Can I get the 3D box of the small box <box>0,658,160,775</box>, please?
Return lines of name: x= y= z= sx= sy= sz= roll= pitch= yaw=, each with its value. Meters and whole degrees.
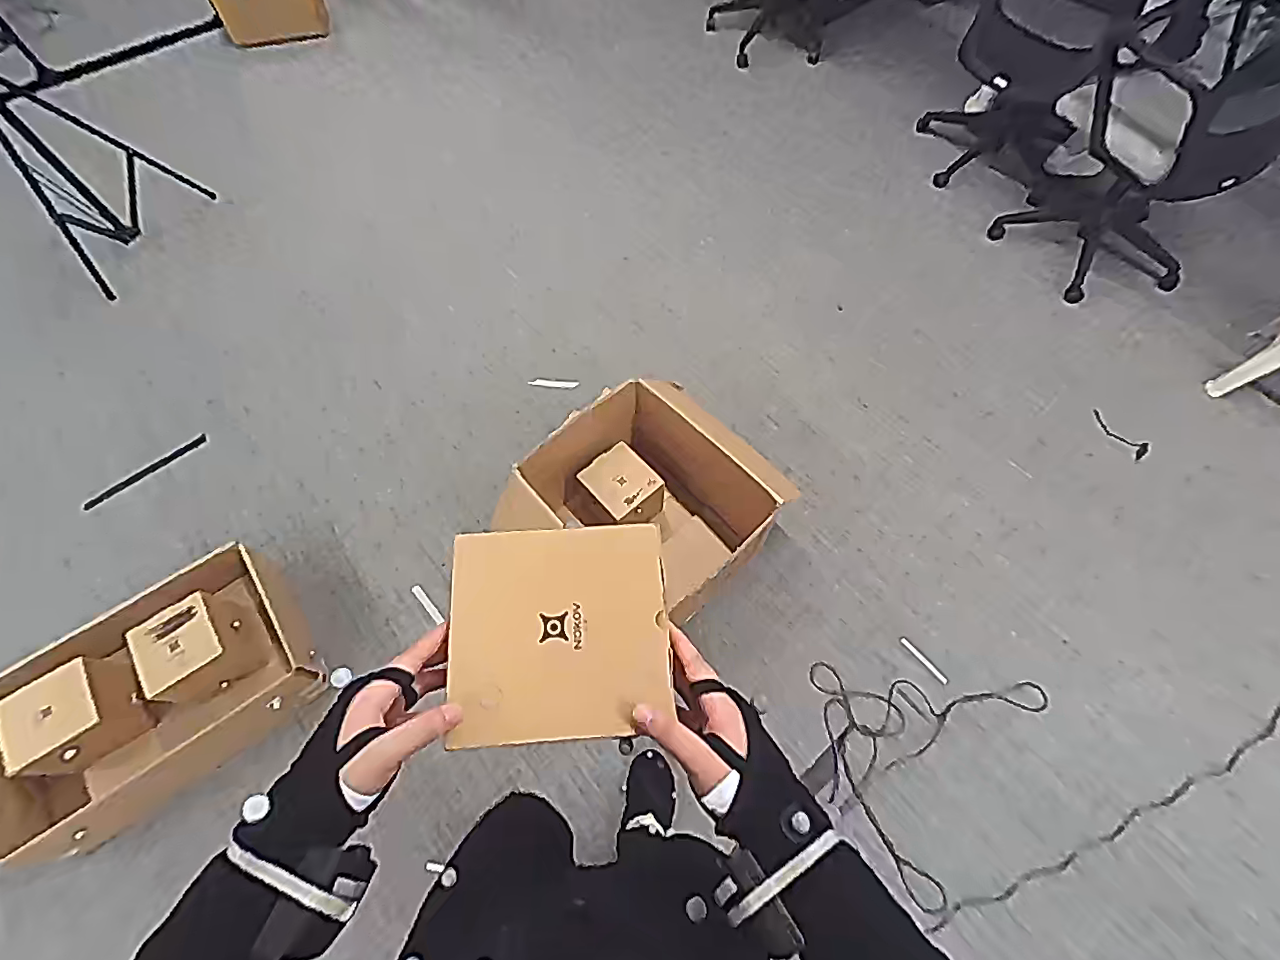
small box: x=-1.252 y=0.532 z=1.217 sx=0.179 sy=0.176 sz=0.168 roll=-33 pitch=70 yaw=-17

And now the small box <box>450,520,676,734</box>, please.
small box: x=-0.066 y=0.146 z=0.516 sx=0.179 sy=0.176 sz=0.168 roll=-3 pitch=68 yaw=-4
